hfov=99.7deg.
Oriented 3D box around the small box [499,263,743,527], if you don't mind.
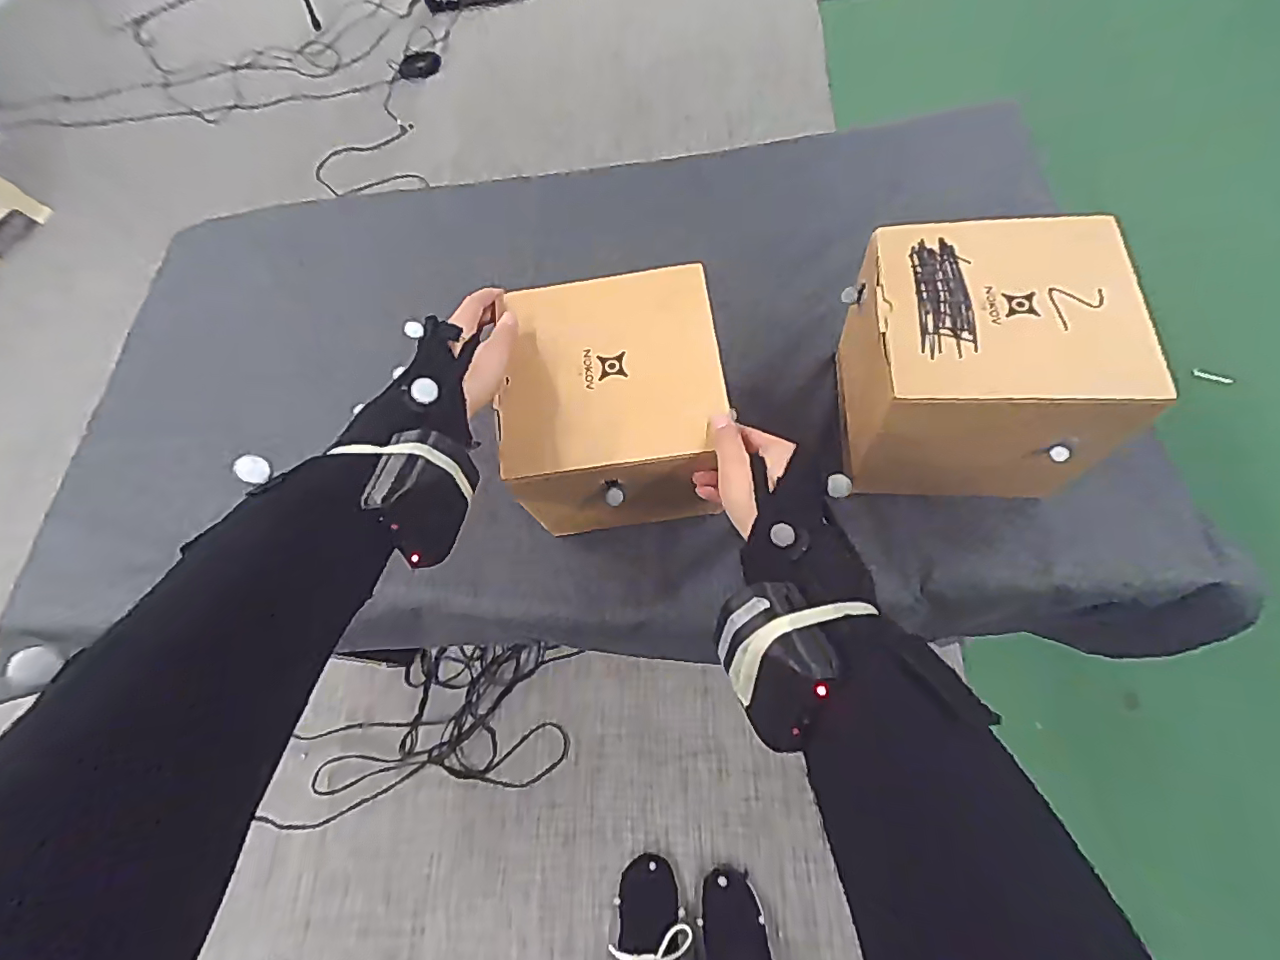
[{"bbox_3d":[-0.014,-0.062,0.487,0.179,0.176,0.168,-8,71,3],"label":"small box"}]
